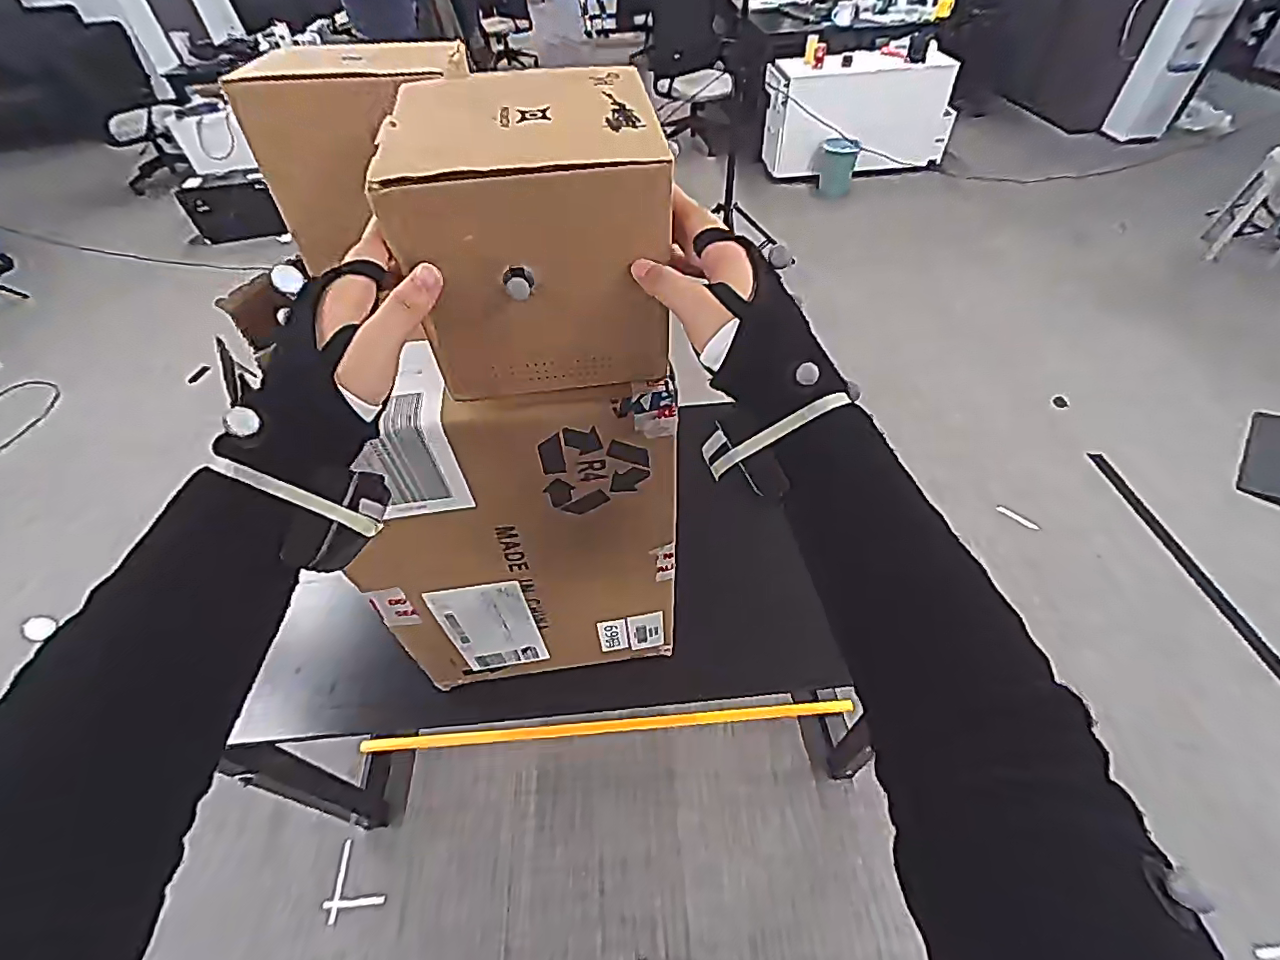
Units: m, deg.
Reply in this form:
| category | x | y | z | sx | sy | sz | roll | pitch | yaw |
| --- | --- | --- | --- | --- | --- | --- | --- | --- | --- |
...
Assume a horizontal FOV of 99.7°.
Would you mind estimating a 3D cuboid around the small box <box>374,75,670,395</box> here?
| category | x | y | z | sx | sy | sz | roll | pitch | yaw |
| --- | --- | --- | --- | --- | --- | --- | --- | --- | --- |
| small box | -0.074 | -0.184 | 0.424 | 0.179 | 0.176 | 0.168 | -8 | 53 | -3 |

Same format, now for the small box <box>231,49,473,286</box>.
| category | x | y | z | sx | sy | sz | roll | pitch | yaw |
| --- | --- | --- | --- | --- | --- | --- | --- | --- | --- |
| small box | -0.251 | -0.316 | 0.550 | 0.179 | 0.176 | 0.168 | -7 | 46 | -4 |
